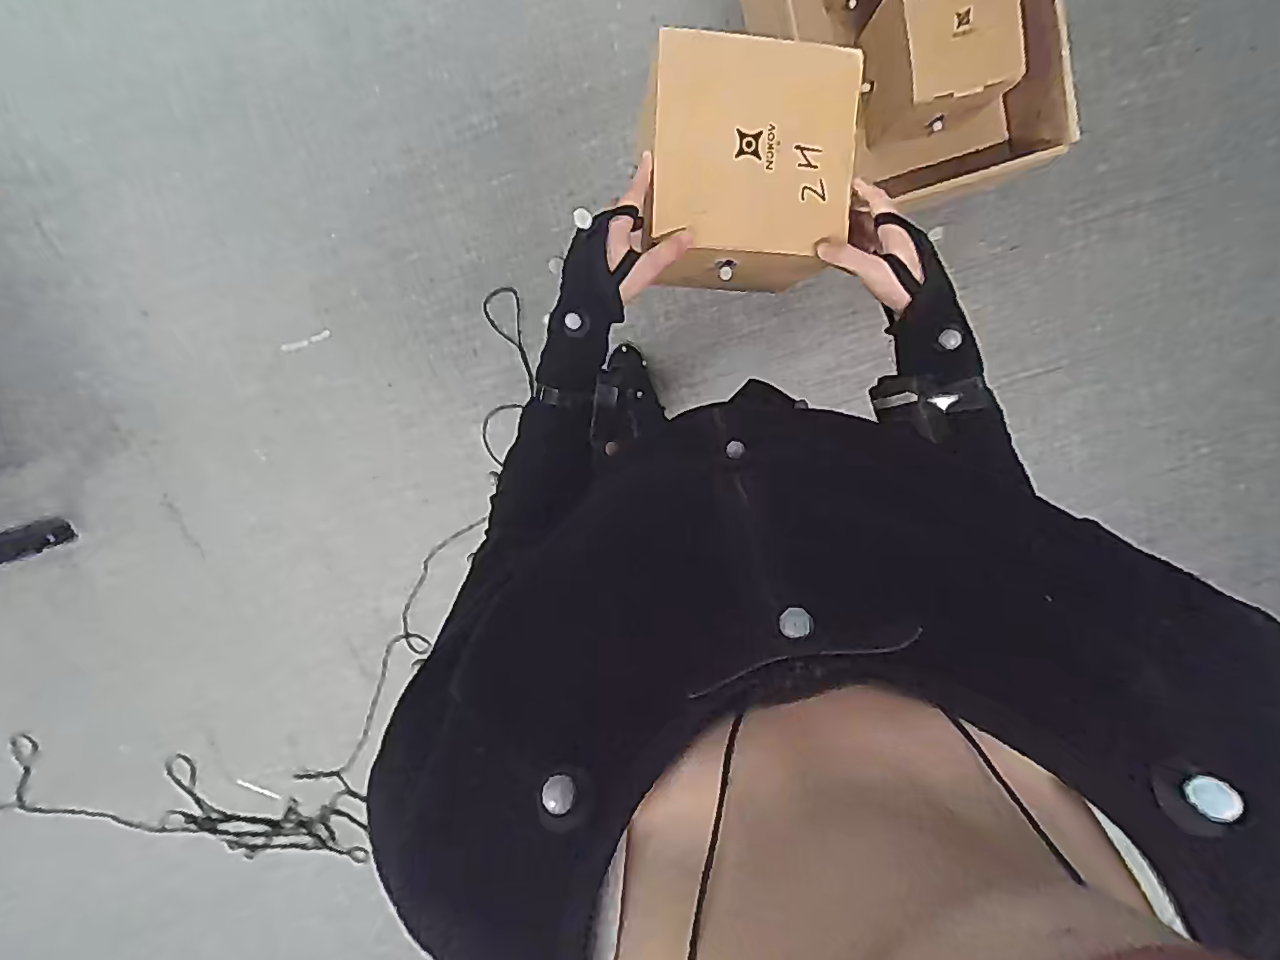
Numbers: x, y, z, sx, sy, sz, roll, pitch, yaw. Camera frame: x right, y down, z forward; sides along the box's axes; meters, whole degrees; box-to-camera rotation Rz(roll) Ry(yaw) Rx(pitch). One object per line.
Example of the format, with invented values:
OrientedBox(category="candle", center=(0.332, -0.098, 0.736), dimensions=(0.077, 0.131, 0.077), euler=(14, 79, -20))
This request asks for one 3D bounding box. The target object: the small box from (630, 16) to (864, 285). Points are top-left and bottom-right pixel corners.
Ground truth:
OrientedBox(category="small box", center=(0.086, -0.294, 0.524), dimensions=(0.179, 0.176, 0.168), euler=(2, 99, -7))
